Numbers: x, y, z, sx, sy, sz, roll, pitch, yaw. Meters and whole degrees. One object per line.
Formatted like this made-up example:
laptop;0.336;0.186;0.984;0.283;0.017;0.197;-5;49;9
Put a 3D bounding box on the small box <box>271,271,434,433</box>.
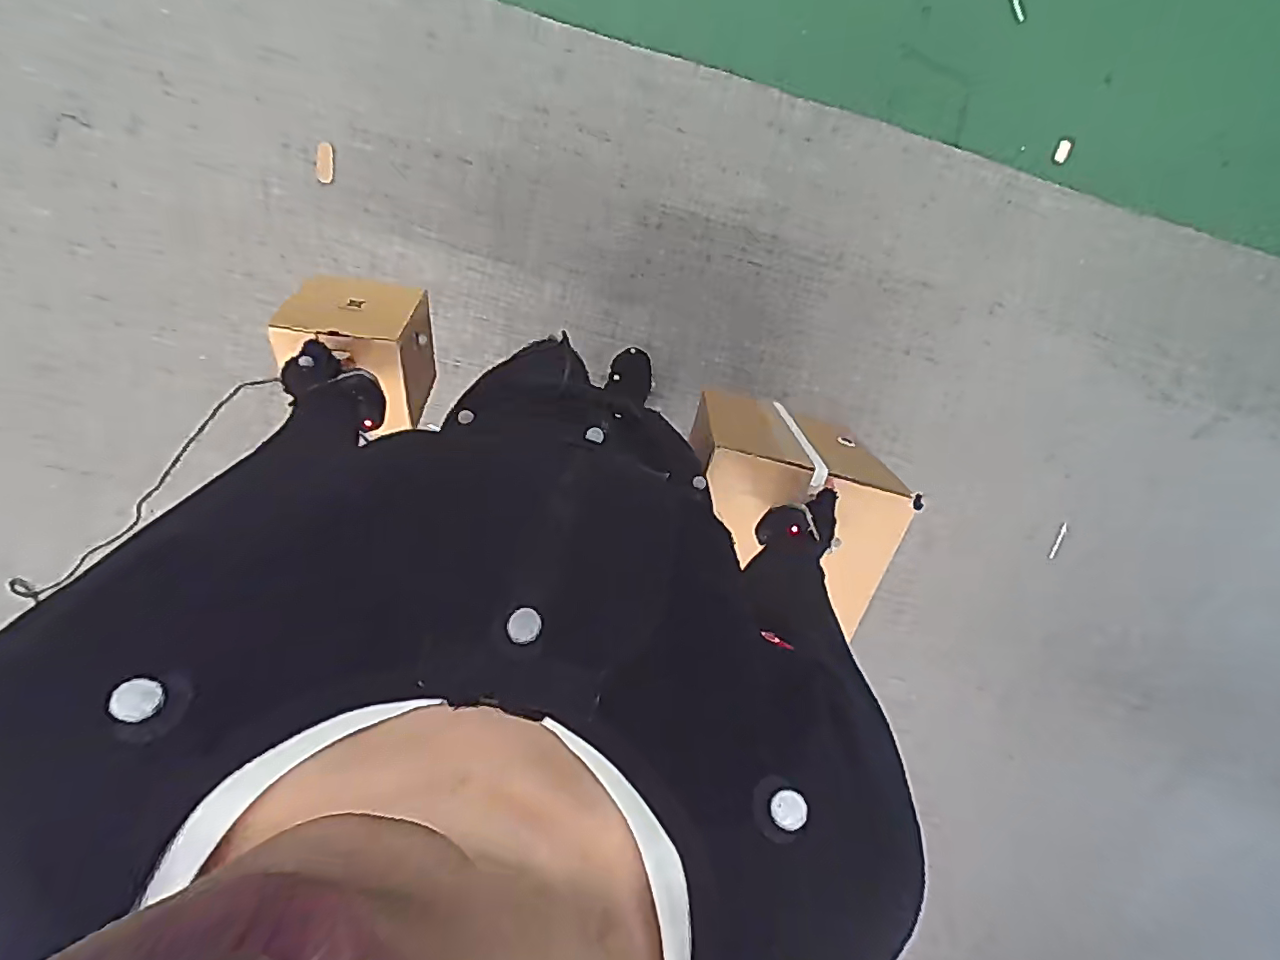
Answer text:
small box;-0.423;-0.196;0.833;0.168;0.179;0.176;4;134;-8
